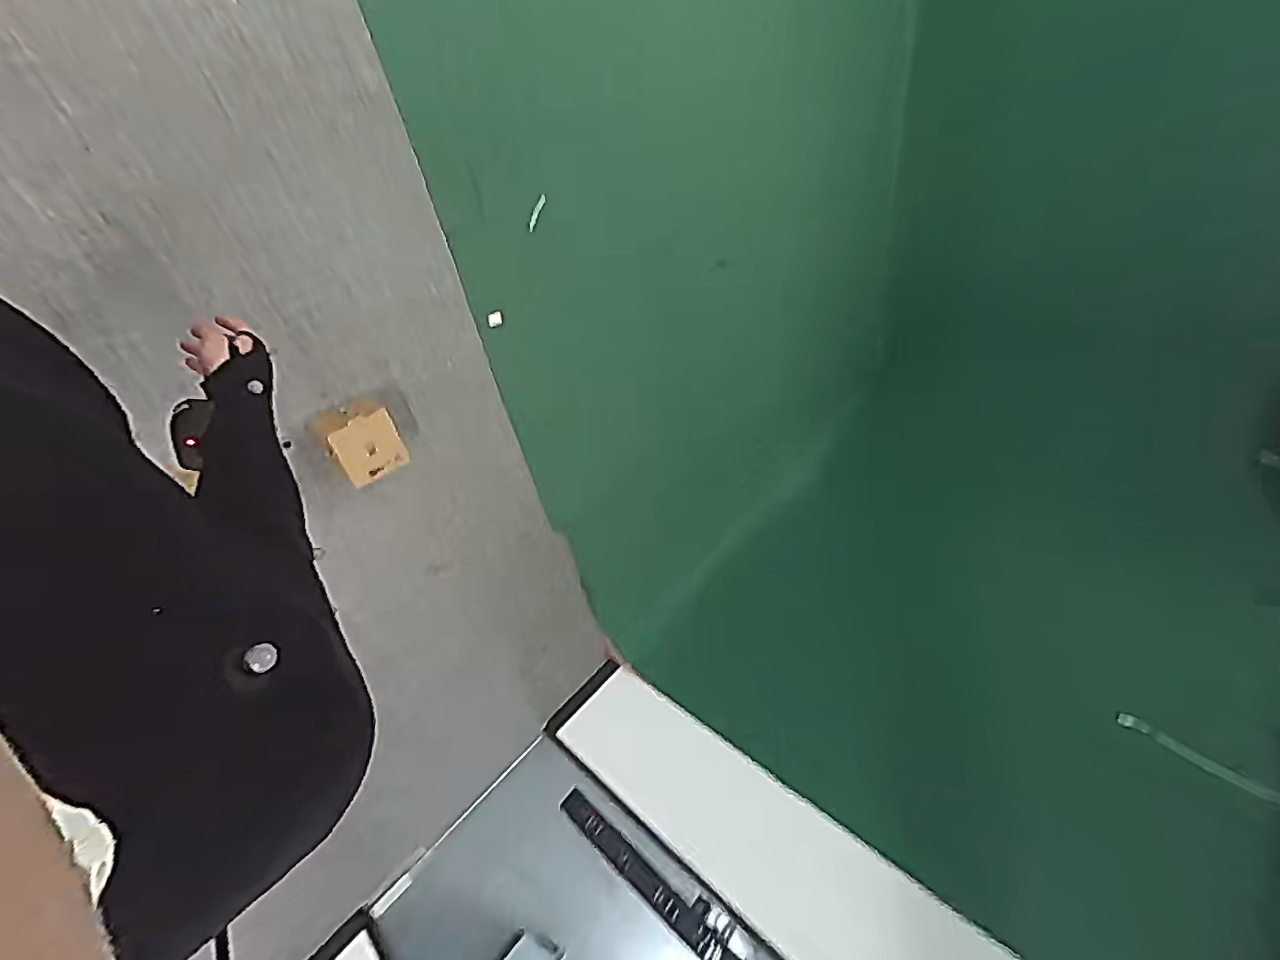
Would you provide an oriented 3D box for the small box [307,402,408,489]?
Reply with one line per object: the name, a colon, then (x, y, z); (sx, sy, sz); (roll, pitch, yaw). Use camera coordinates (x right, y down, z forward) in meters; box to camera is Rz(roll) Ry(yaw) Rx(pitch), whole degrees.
small box: (-0.786, -0.105, 1.501); (0.168, 0.176, 0.179); (-36, 131, -32)
